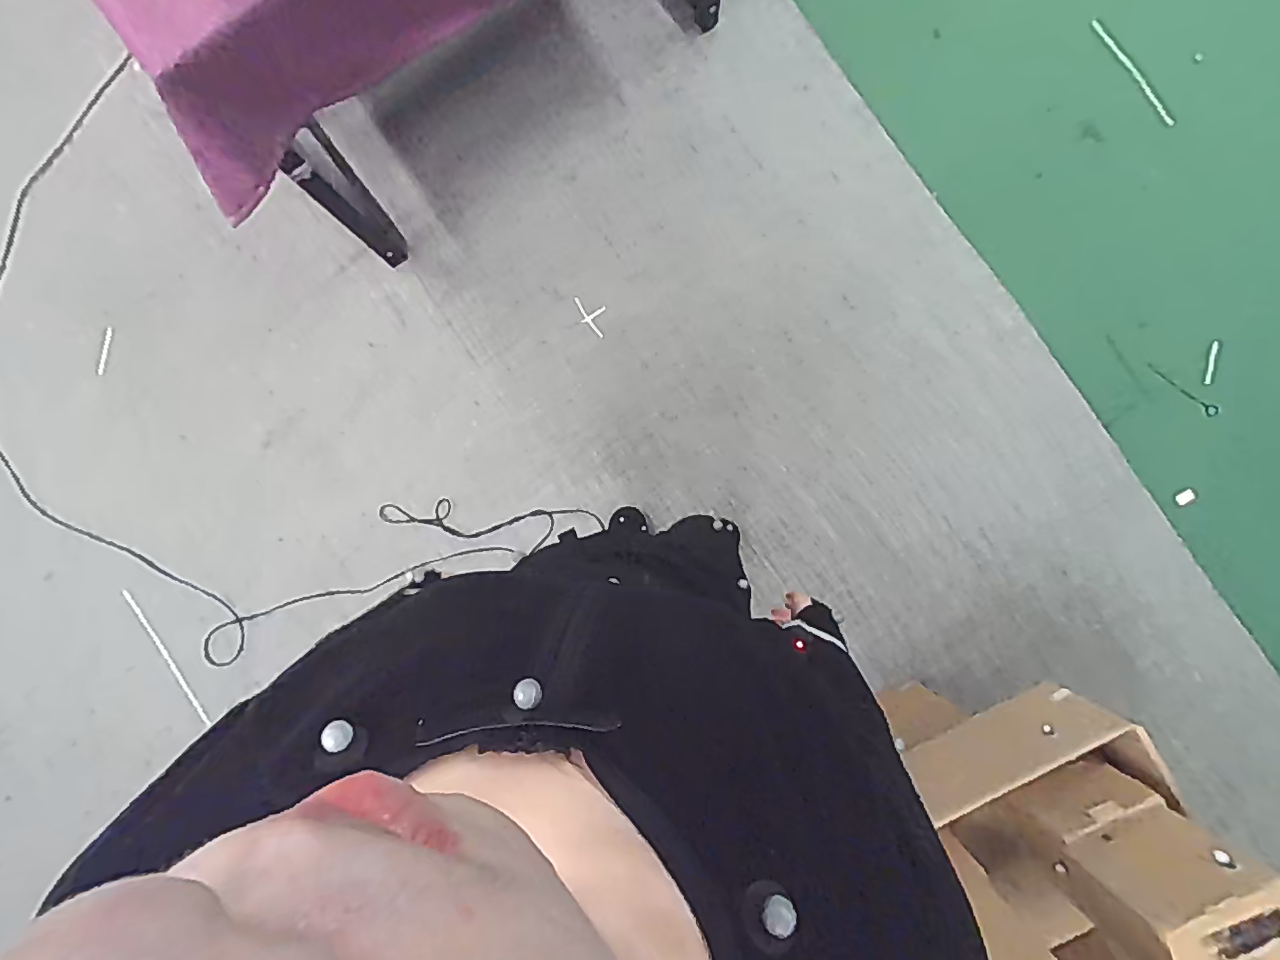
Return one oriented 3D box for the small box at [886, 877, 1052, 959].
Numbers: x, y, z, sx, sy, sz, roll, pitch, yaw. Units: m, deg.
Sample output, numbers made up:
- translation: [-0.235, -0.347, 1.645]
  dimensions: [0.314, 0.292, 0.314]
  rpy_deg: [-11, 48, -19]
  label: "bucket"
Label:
- translation: [0.482, 0.706, 0.753]
  dimensions: [0.168, 0.176, 0.179]
  rpy_deg: [-31, 87, -1]
  label: "small box"
